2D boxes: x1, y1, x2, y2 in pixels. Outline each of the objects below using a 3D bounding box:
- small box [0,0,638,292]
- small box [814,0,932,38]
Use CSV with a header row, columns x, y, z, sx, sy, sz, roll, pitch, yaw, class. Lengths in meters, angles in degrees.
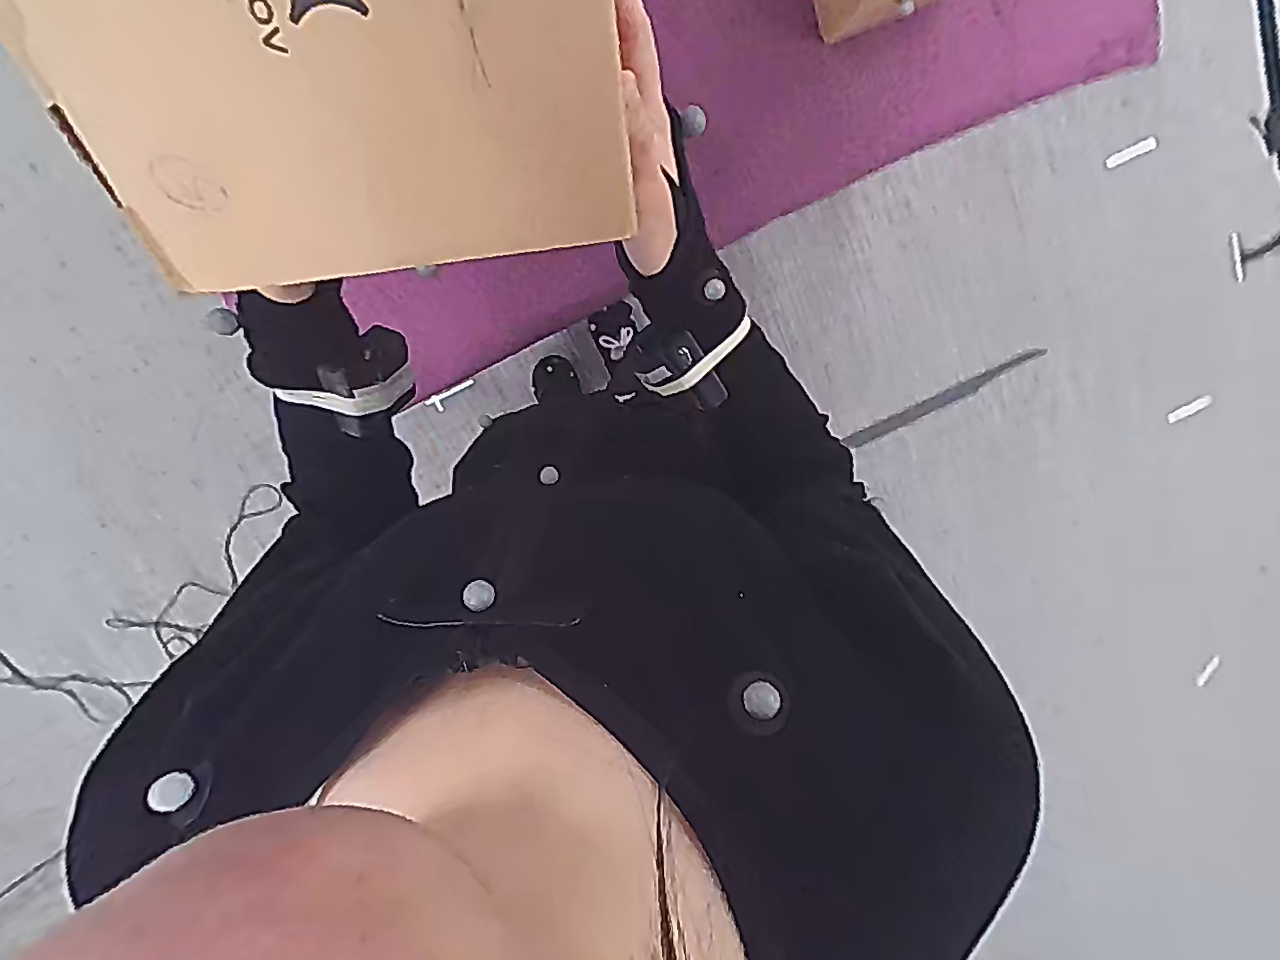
x,y,z,sx,sy,sz,roll,pitch,yaw,class
-0.100,-0.192,0.215,0.179,0.176,0.168,-8,129,-1,small box
0.277,-0.622,0.561,0.168,0.176,0.179,-23,106,-1,small box
